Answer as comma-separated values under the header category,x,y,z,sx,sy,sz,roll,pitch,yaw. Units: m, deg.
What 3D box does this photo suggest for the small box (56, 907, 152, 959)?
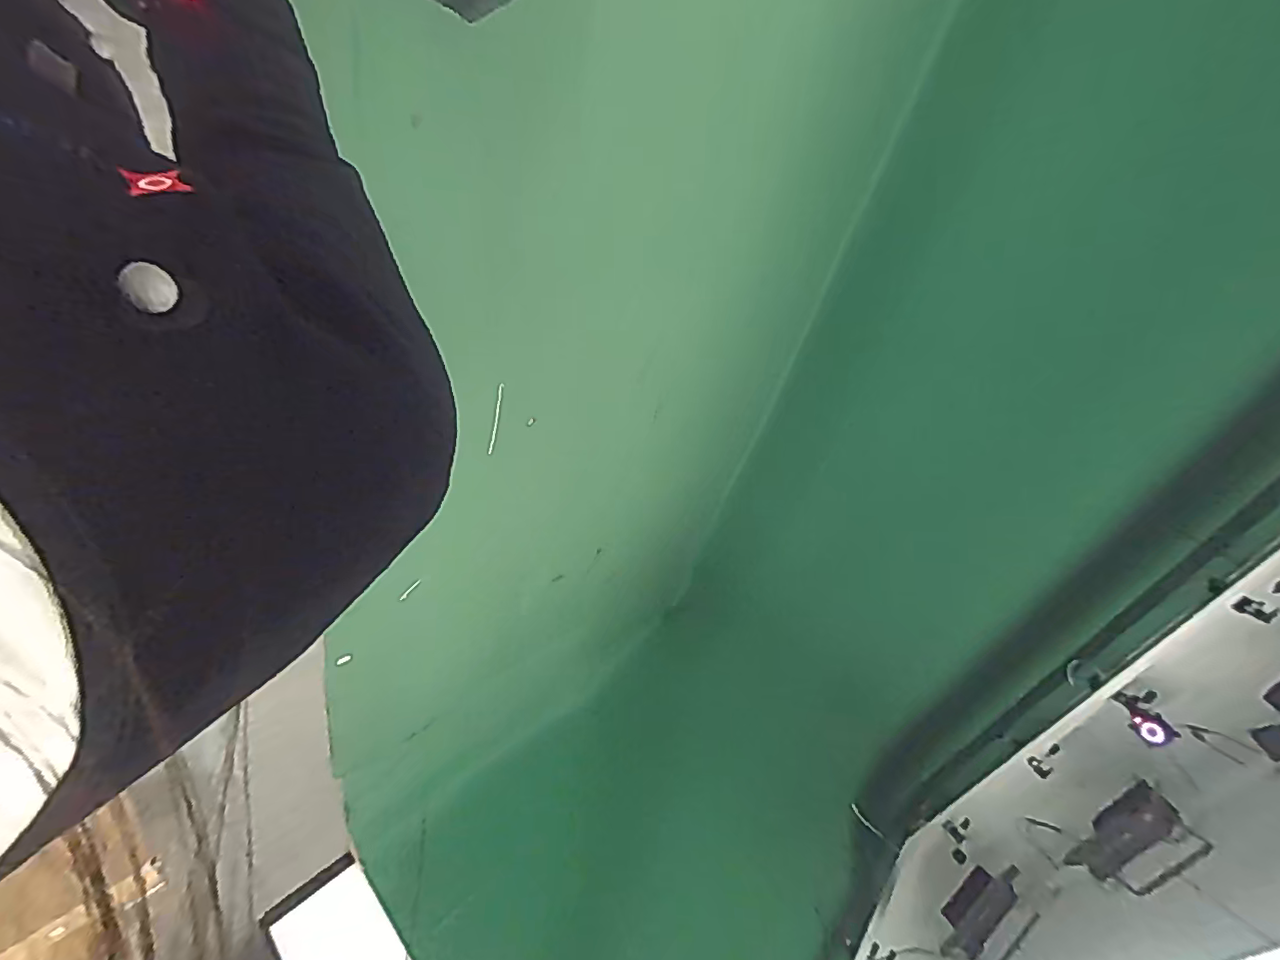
category,x,y,z,sx,sy,sz,roll,pitch,yaw
small box,-1.545,1.406,1.562,0.179,0.176,0.168,-17,133,-50
